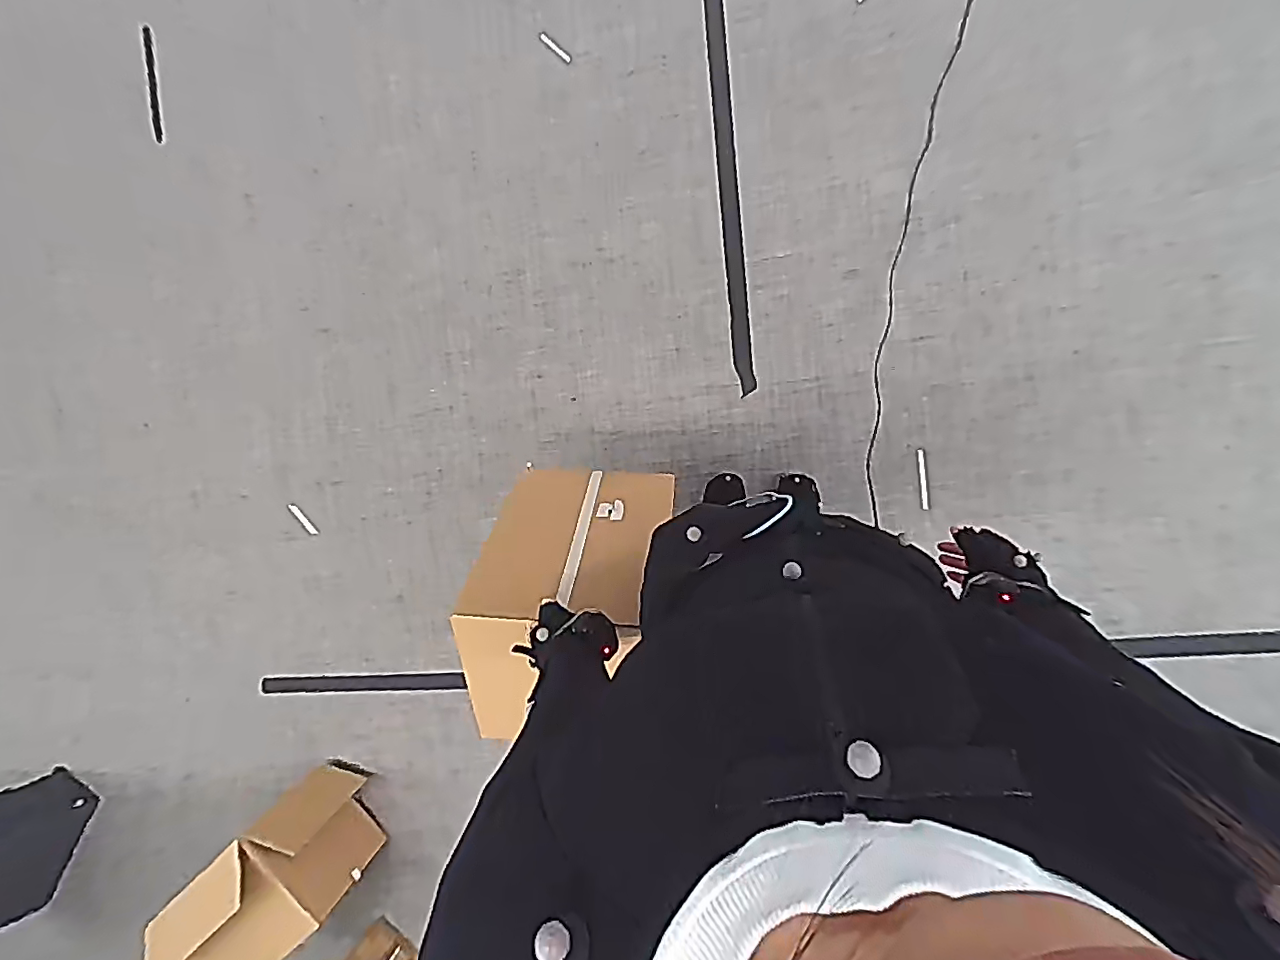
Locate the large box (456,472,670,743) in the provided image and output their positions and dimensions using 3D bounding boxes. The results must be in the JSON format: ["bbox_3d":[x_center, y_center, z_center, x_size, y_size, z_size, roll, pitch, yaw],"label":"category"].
[{"bbox_3d":[-0.106,0.224,1.027,0.320,0.408,0.320,4,122,4],"label":"large box"}]
